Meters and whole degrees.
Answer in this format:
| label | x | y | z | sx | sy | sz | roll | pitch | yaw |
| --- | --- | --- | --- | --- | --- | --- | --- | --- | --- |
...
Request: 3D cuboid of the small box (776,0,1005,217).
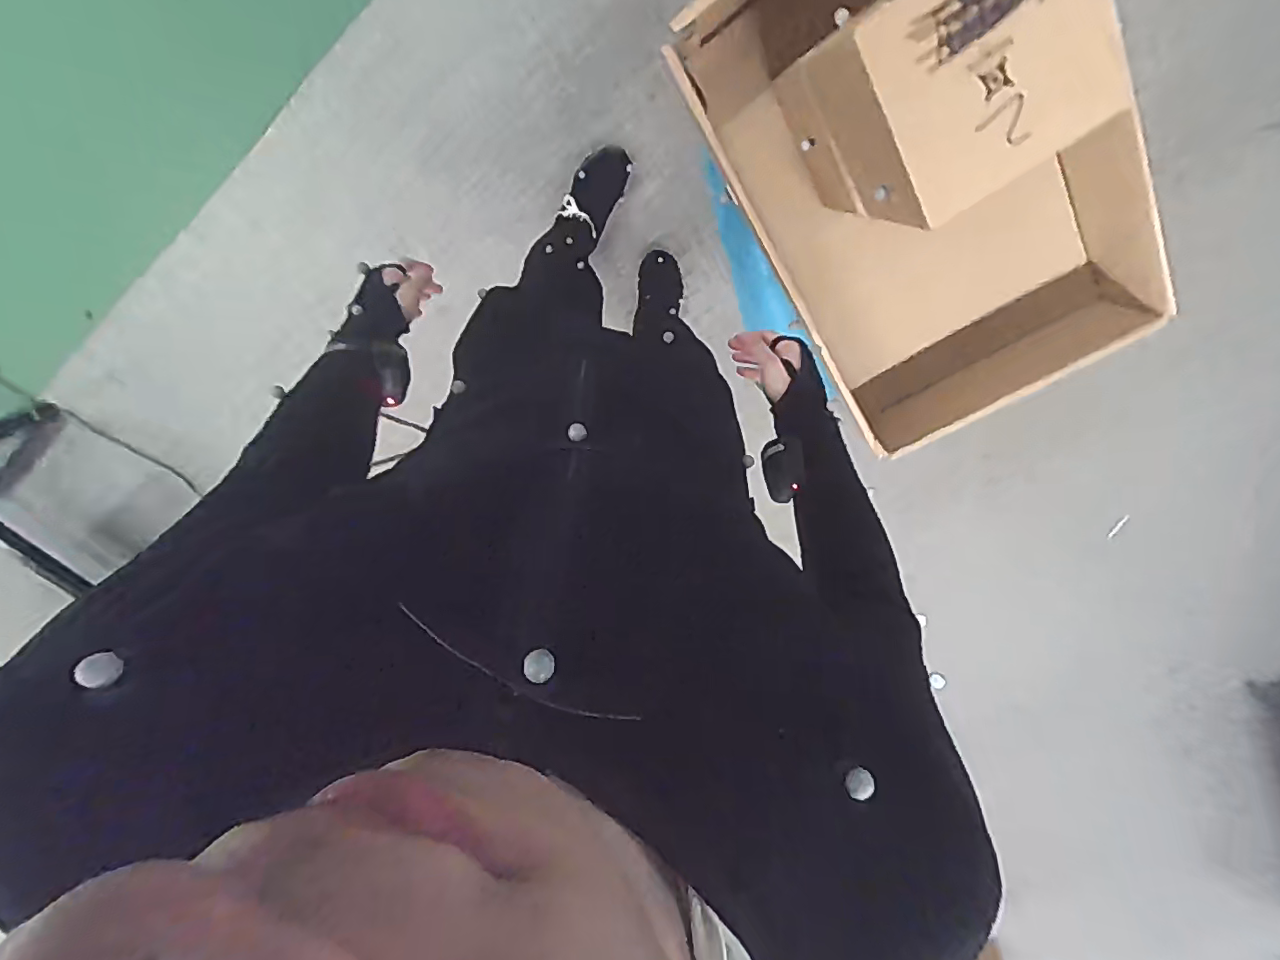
| label | x | y | z | sx | sy | sz | roll | pitch | yaw |
| --- | --- | --- | --- | --- | --- | --- | --- | --- | --- |
| small box | 0.280 | -0.444 | 0.634 | 0.168 | 0.176 | 0.179 | -29 | 116 | 17 |
